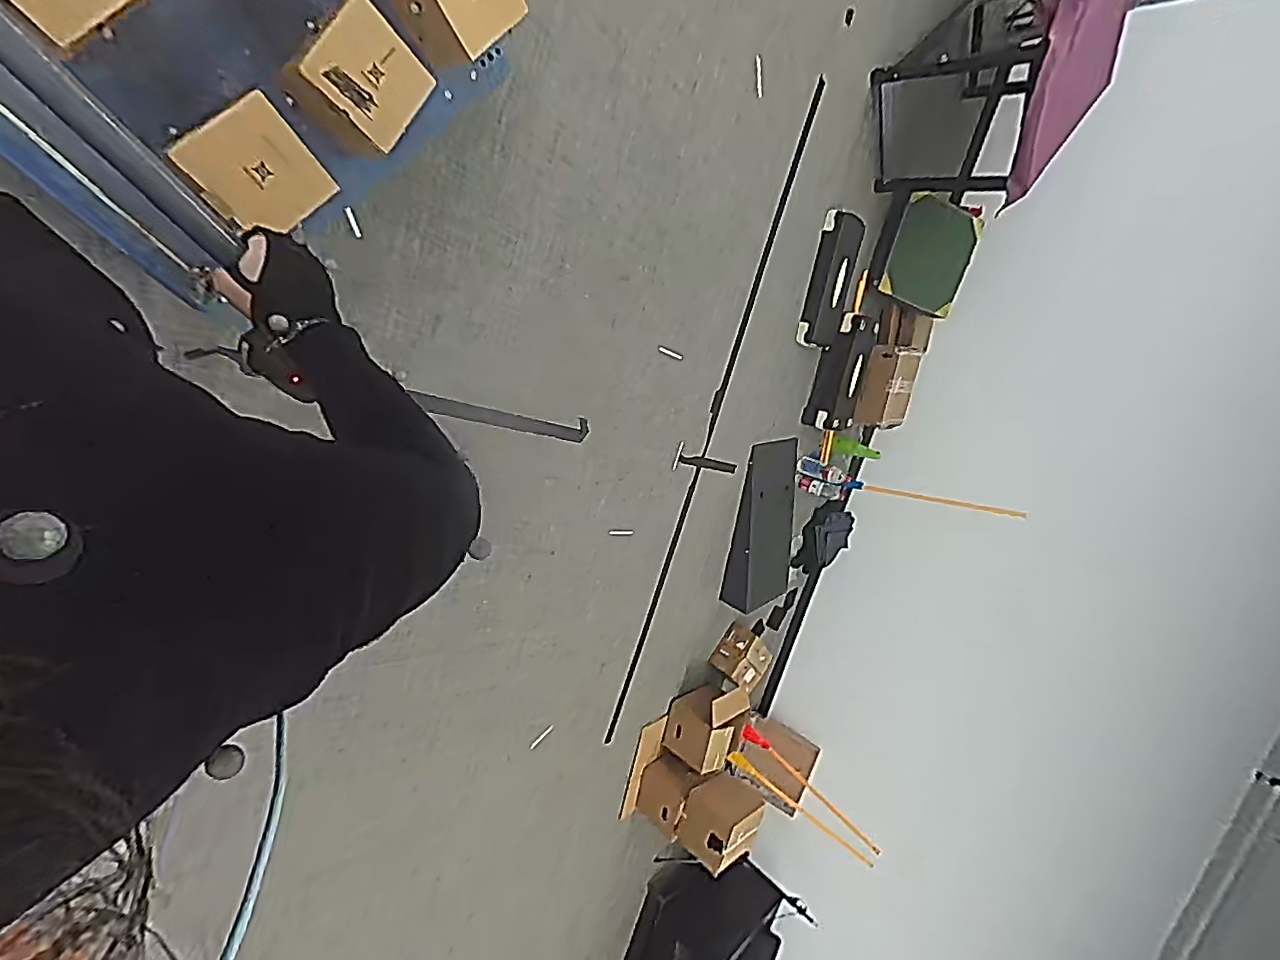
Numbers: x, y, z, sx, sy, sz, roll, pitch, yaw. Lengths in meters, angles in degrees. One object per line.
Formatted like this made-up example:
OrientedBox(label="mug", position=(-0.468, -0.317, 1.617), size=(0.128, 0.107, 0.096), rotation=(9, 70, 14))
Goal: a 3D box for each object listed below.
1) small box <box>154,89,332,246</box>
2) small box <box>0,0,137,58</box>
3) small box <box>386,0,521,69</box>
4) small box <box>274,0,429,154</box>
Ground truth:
OrientedBox(label="small box", position=(-0.679, -0.526, 0.924), size=(0.179, 0.176, 0.168), rotation=(-52, 140, -17))
OrientedBox(label="small box", position=(-0.793, -0.692, 0.703), size=(0.179, 0.176, 0.168), rotation=(-54, 141, -14))
OrientedBox(label="small box", position=(-0.374, -0.941, 1.049), size=(0.179, 0.176, 0.168), rotation=(-54, 140, -14))
OrientedBox(label="small box", position=(-0.530, -0.727, 0.985), size=(0.179, 0.176, 0.168), rotation=(-60, 141, -8))
